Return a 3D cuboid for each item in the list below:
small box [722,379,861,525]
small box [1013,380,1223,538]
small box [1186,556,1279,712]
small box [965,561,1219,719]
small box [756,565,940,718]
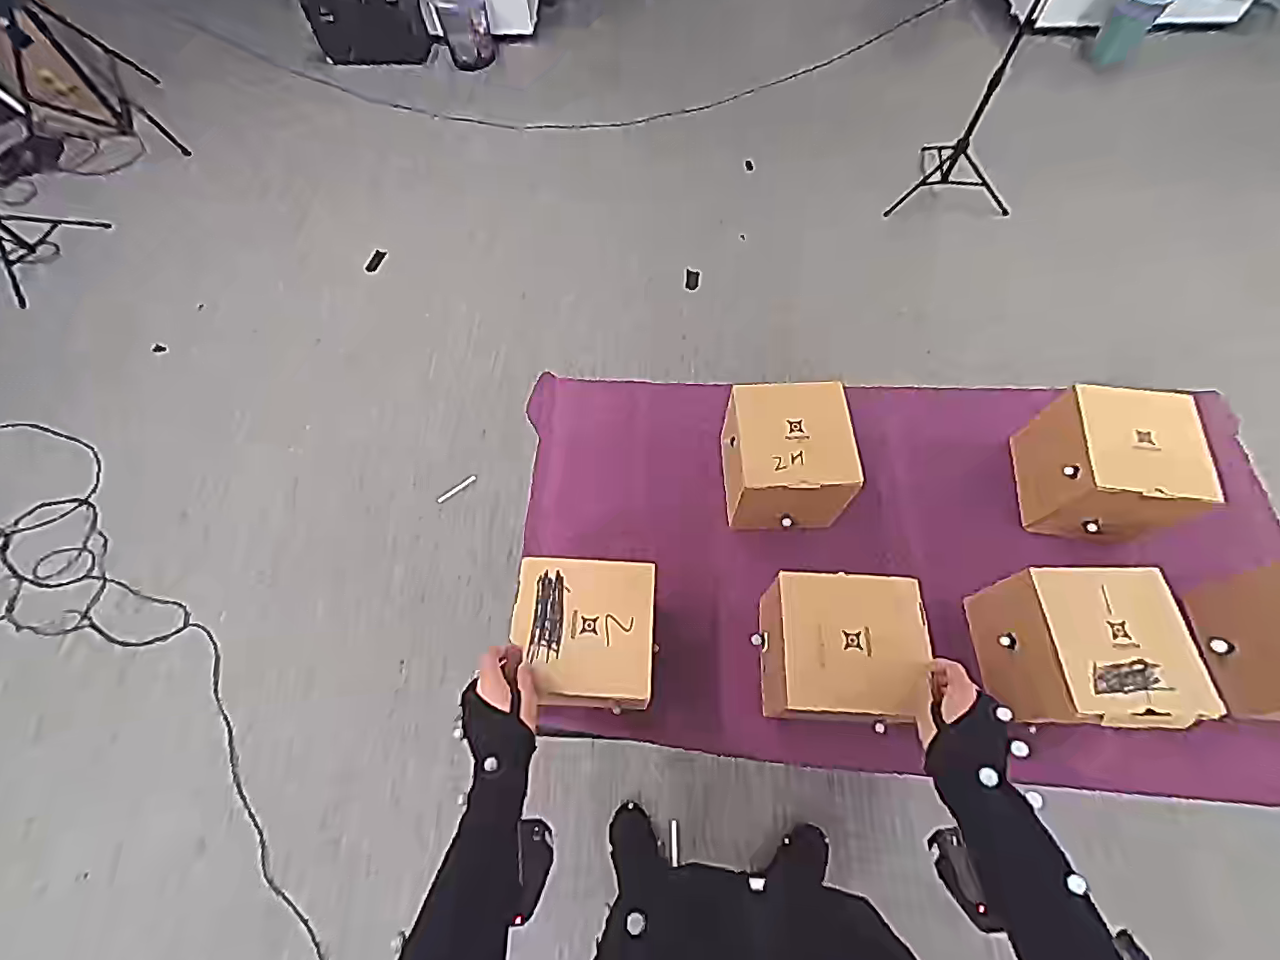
[{"bbox_3d":[0.224,-0.040,0.854,0.168,0.176,0.179,-2,64,1],"label":"small box"},{"bbox_3d":[0.712,-0.028,0.834,0.168,0.176,0.179,7,66,6],"label":"small box"},{"bbox_3d":[0.892,0.209,0.705,0.168,0.176,0.179,3,62,4],"label":"small box"},{"bbox_3d":[0.569,0.217,0.714,0.168,0.176,0.179,0,63,2],"label":"small box"},{"bbox_3d":[0.260,0.221,0.722,0.179,0.176,0.168,3,63,2],"label":"small box"}]
